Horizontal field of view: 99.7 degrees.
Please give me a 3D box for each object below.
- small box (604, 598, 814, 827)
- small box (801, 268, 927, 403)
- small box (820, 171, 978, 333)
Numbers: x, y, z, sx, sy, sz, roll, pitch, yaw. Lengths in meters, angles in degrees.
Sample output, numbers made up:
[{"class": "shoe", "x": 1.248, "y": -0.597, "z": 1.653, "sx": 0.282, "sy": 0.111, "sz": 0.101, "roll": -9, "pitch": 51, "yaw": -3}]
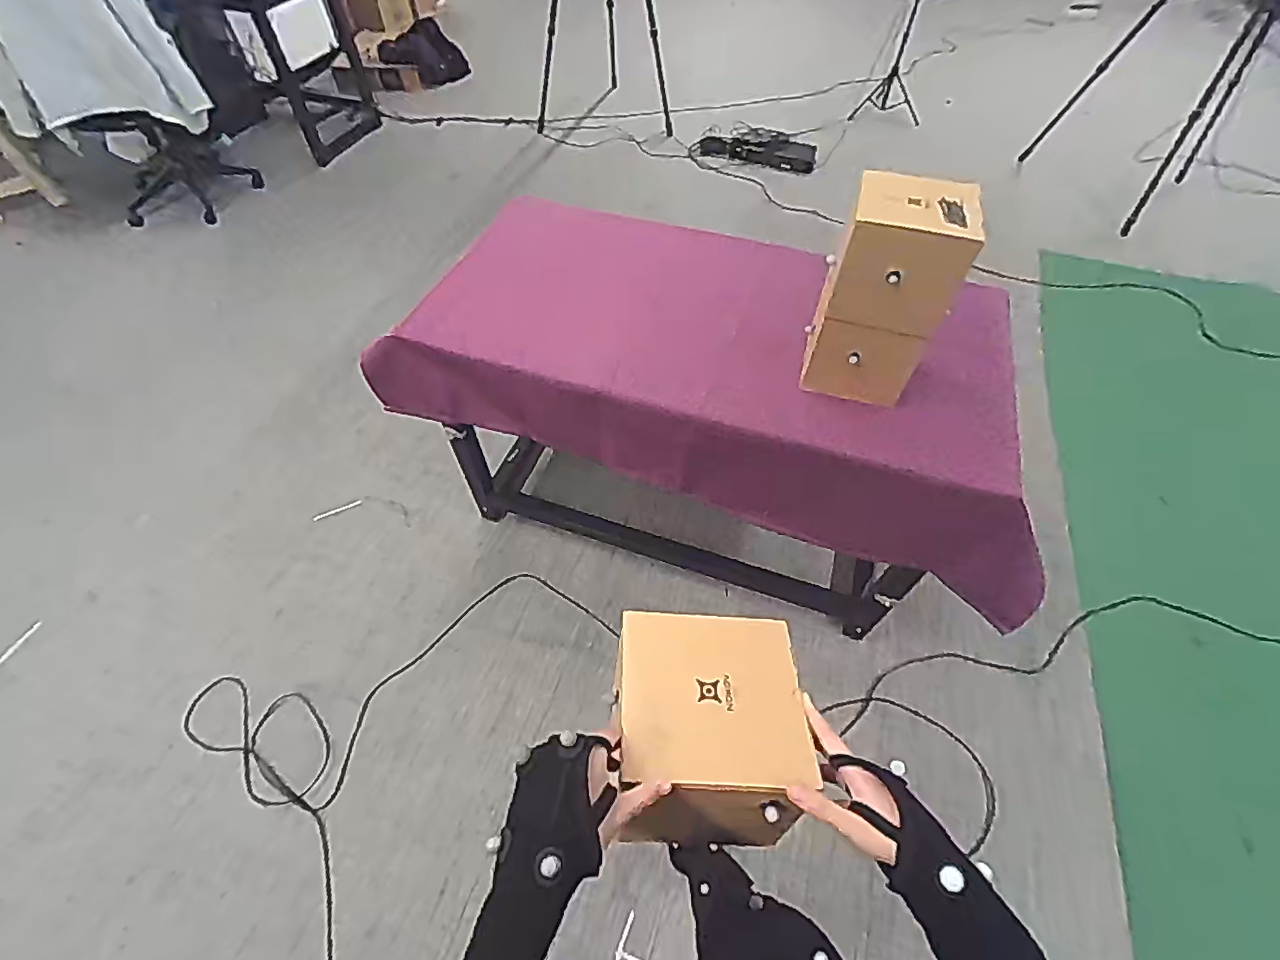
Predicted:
[{"class": "small box", "x": 0.055, "y": 0.244, "z": 0.566, "sx": 0.179, "sy": 0.176, "sz": 0.168, "roll": 5, "pitch": 42, "yaw": -5}, {"class": "small box", "x": 0.406, "y": -0.263, "z": 0.998, "sx": 0.179, "sy": 0.176, "sz": 0.168, "roll": 14, "pitch": 55, "yaw": 10}, {"class": "small box", "x": 0.405, "y": -0.359, "z": 0.863, "sx": 0.179, "sy": 0.176, "sz": 0.168, "roll": 15, "pitch": 54, "yaw": 11}]
